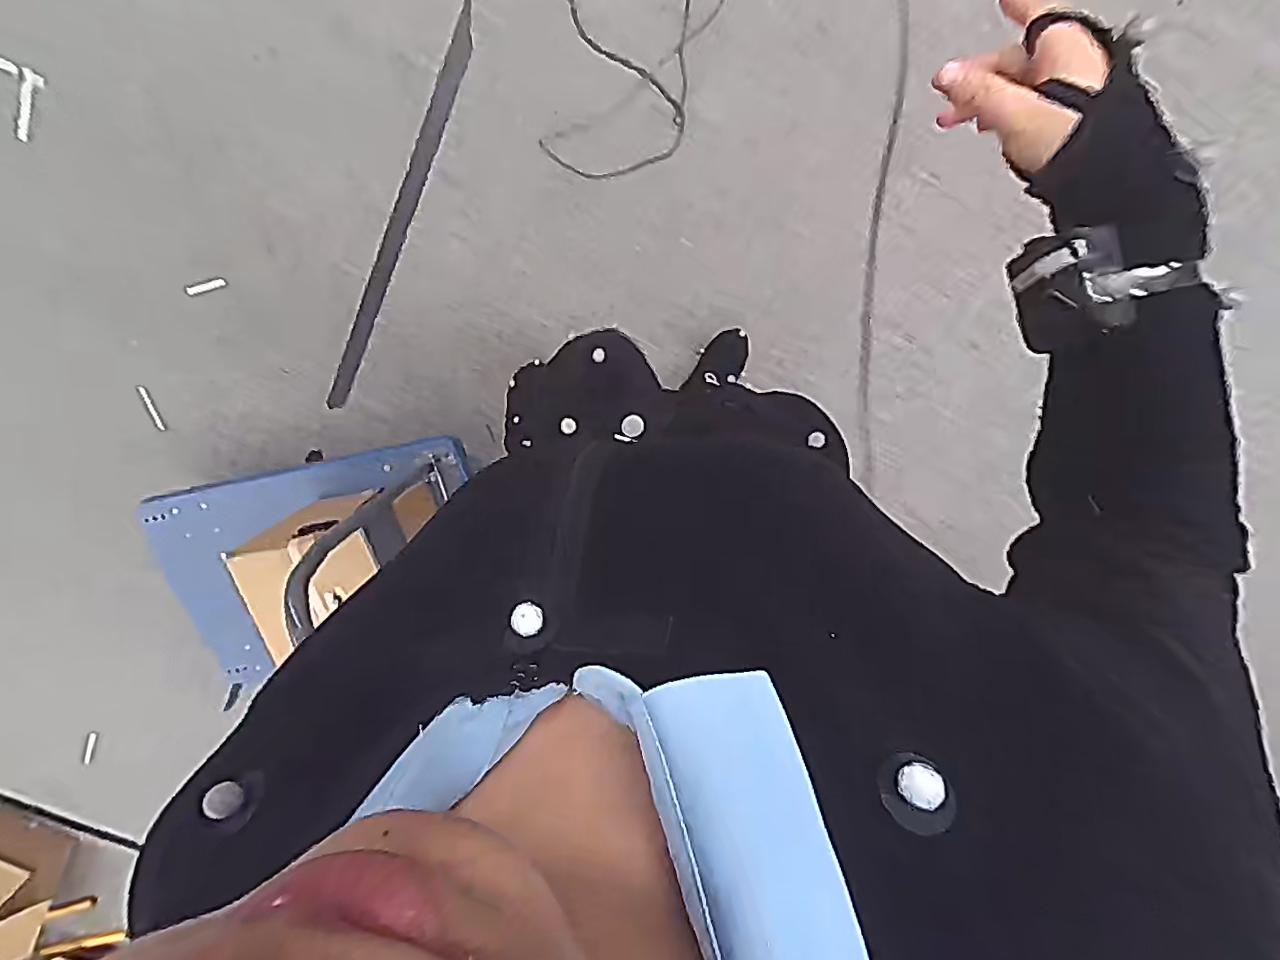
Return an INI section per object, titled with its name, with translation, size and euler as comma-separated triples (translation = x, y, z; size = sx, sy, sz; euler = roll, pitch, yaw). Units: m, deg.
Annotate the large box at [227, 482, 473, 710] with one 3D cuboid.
[large box]
translation = -0.641, 0.259, 1.277
size = 0.320, 0.320, 0.408
euler = -11, 107, 4
